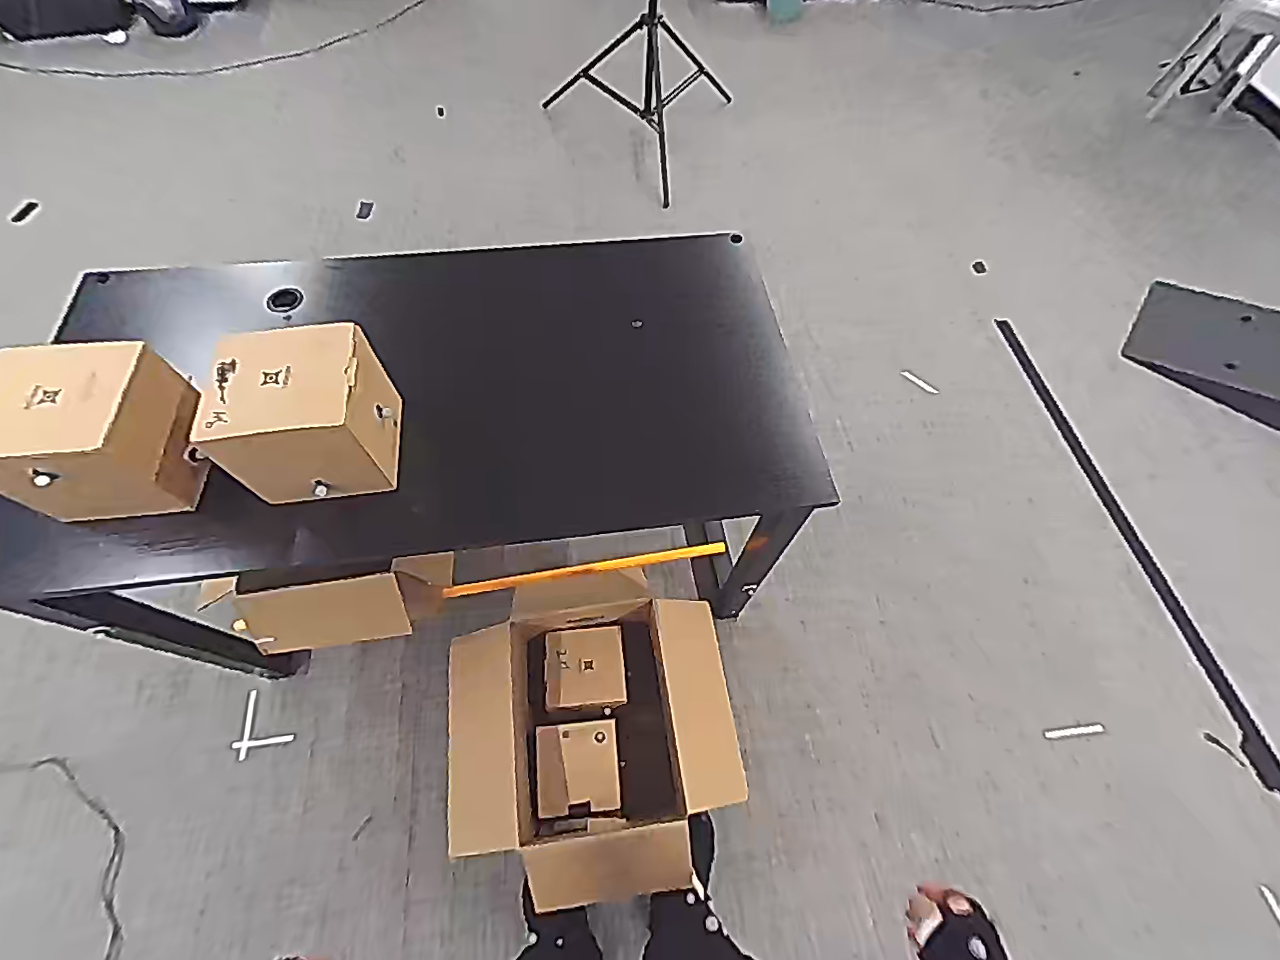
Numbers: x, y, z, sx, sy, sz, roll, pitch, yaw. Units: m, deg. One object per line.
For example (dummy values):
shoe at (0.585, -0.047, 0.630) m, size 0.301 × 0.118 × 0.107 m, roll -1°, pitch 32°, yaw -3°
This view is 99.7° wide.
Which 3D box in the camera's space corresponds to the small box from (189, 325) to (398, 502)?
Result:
small box at (-0.443, -0.084, 0.730) m, size 0.179 × 0.176 × 0.168 m, roll -7°, pitch 62°, yaw -7°

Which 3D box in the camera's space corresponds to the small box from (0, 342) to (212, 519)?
small box at (-0.704, -0.058, 0.705) m, size 0.179 × 0.176 × 0.168 m, roll -4°, pitch 62°, yaw -6°
